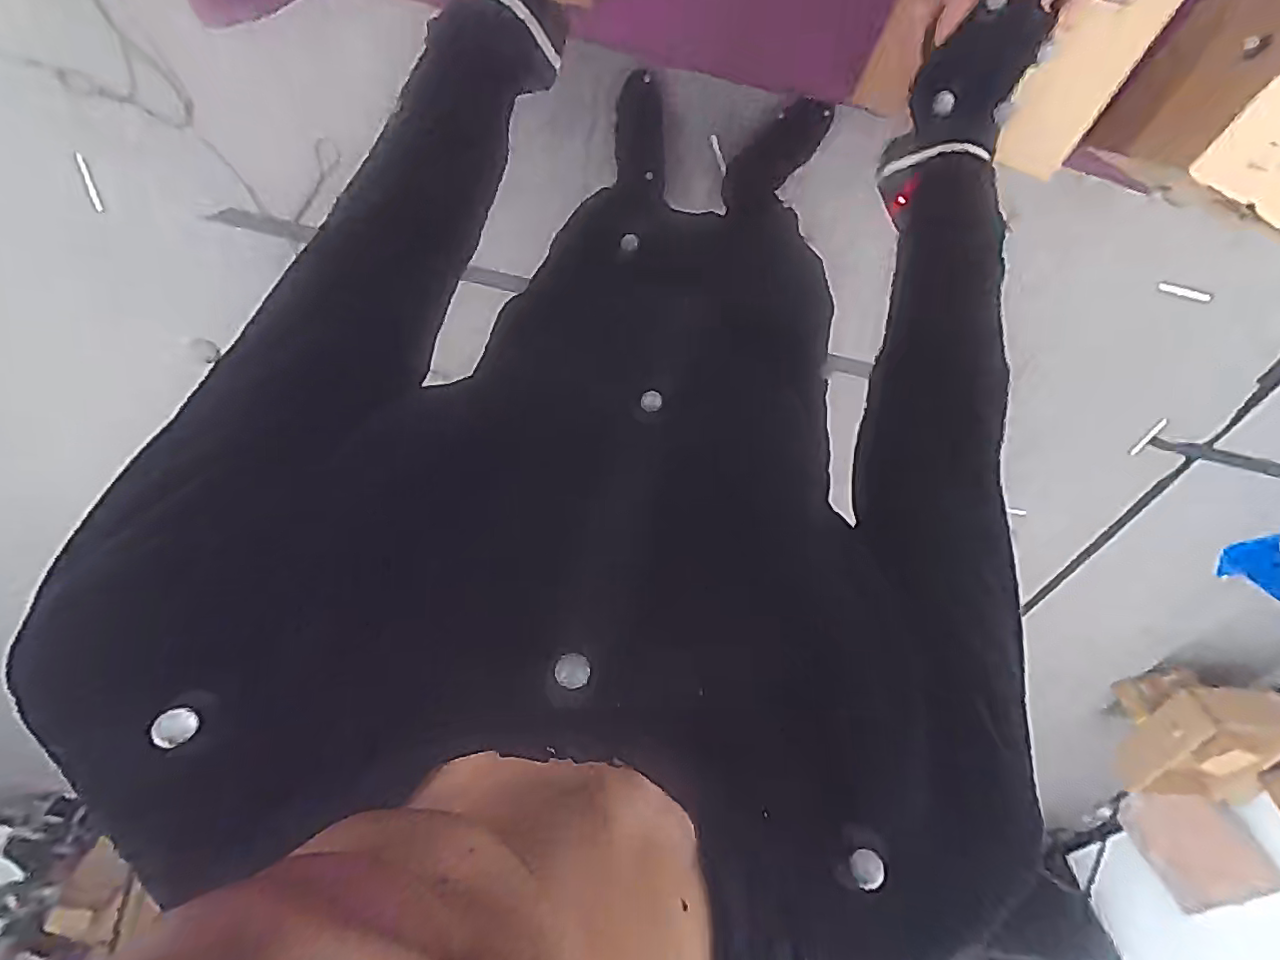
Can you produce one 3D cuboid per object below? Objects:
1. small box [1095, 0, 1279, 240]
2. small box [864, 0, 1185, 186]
[{"bbox_3d":[0.612,-0.365,0.522,0.168,0.176,0.179,21,128,-11],"label":"small box"},{"bbox_3d":[0.339,-0.414,0.507,0.168,0.176,0.179,17,130,-8],"label":"small box"}]
